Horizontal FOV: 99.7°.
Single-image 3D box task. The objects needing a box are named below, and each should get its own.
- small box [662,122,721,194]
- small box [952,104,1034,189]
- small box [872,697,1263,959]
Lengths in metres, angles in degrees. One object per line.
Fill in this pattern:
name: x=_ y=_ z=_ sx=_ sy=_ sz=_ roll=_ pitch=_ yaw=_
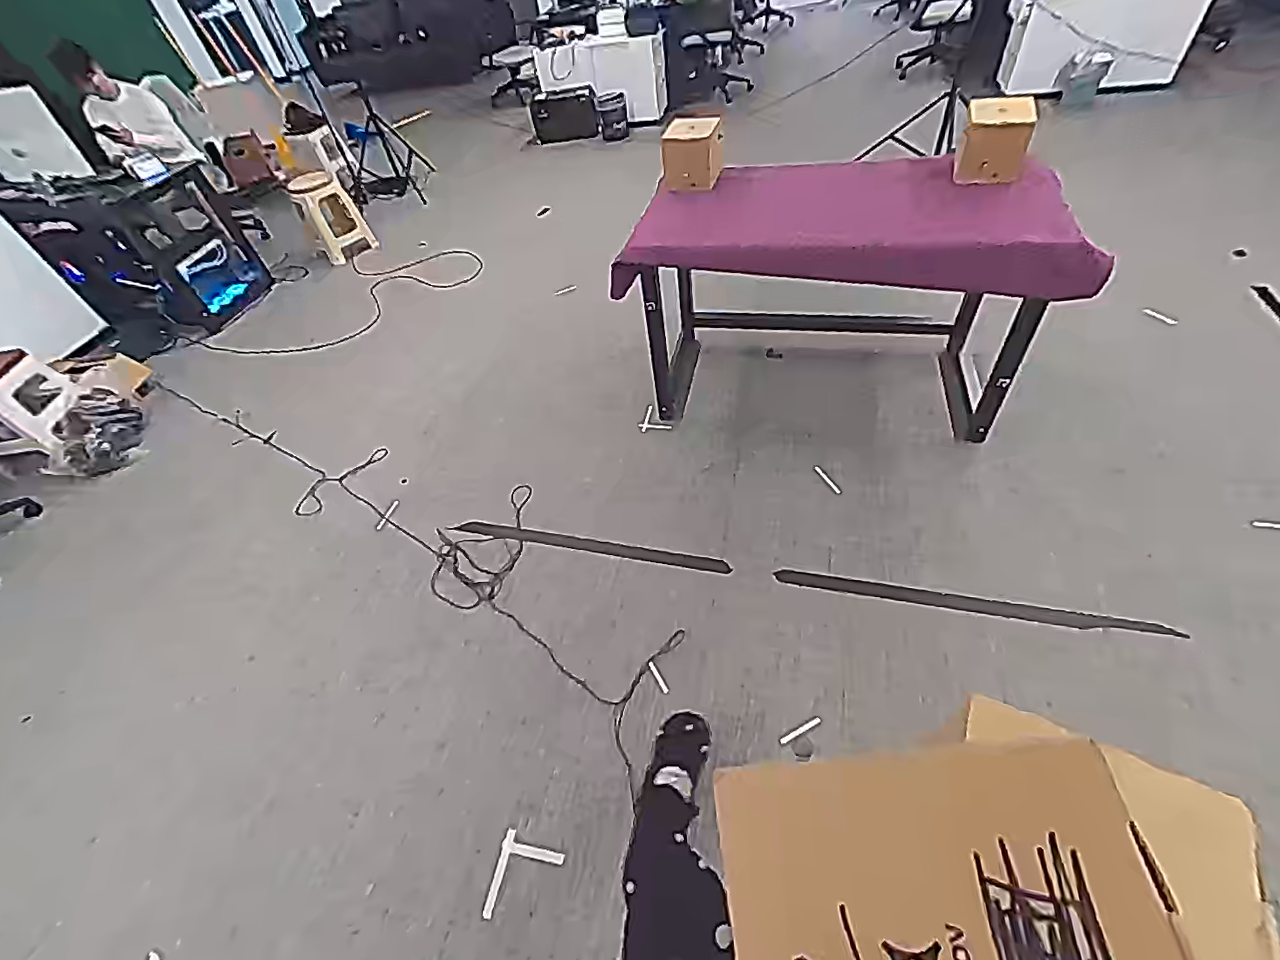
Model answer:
small box: x=0.182 y=-1.119 z=1.877 sx=0.168 sy=0.176 sz=0.179 roll=10 pitch=53 yaw=17
small box: x=1.059 y=-1.008 z=1.635 sx=0.168 sy=0.176 sz=0.179 roll=10 pitch=56 yaw=18
small box: x=0.307 y=0.308 z=0.419 sx=0.179 sy=0.176 sz=0.168 roll=21 pitch=52 yaw=21
